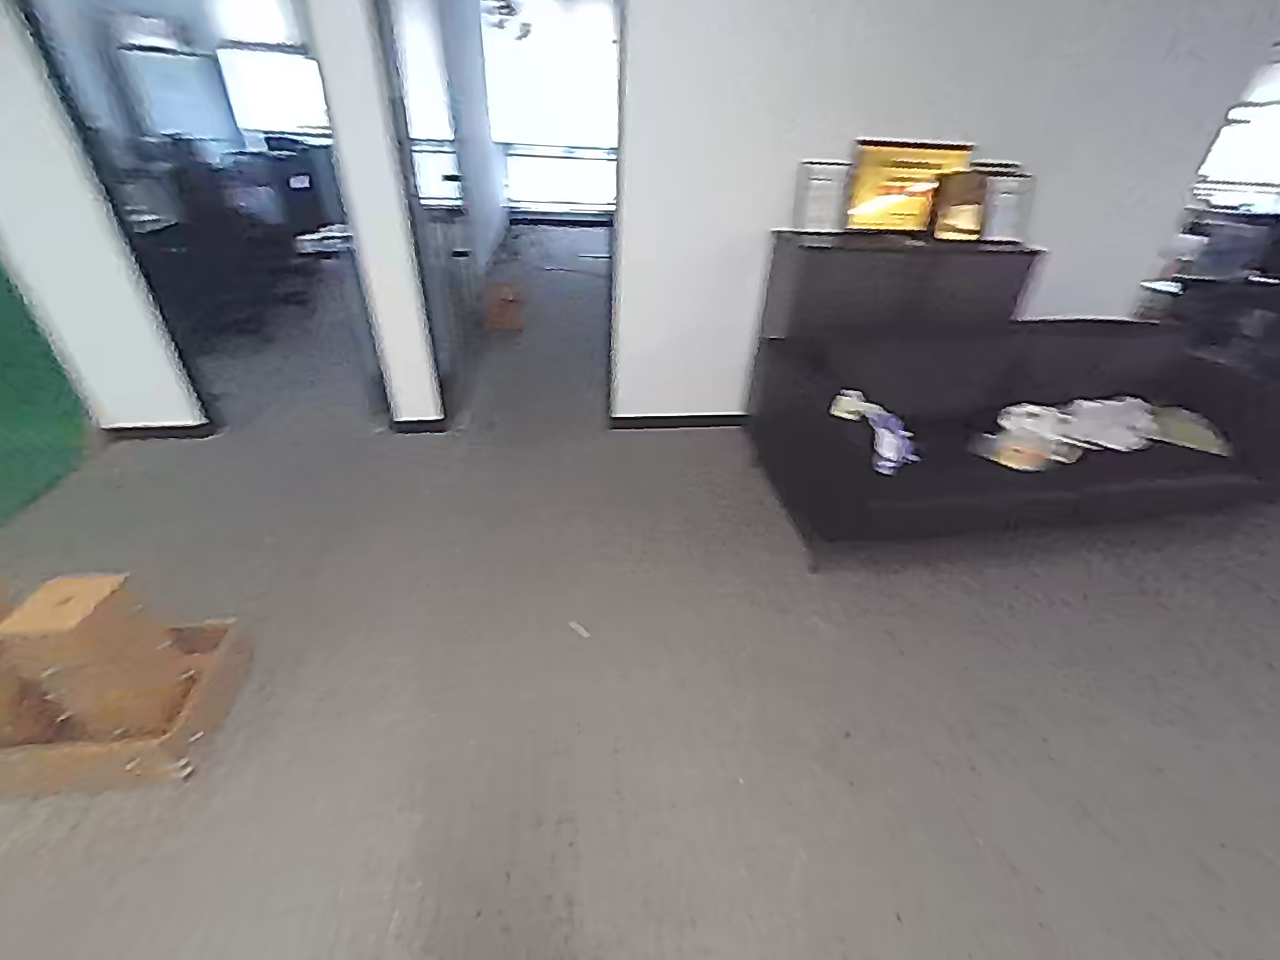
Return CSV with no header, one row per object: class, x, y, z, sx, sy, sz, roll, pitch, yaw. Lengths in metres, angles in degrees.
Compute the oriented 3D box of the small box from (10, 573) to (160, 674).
small box,-1.330,0.349,1.318,0.168,0.176,0.179,-1,34,-5
